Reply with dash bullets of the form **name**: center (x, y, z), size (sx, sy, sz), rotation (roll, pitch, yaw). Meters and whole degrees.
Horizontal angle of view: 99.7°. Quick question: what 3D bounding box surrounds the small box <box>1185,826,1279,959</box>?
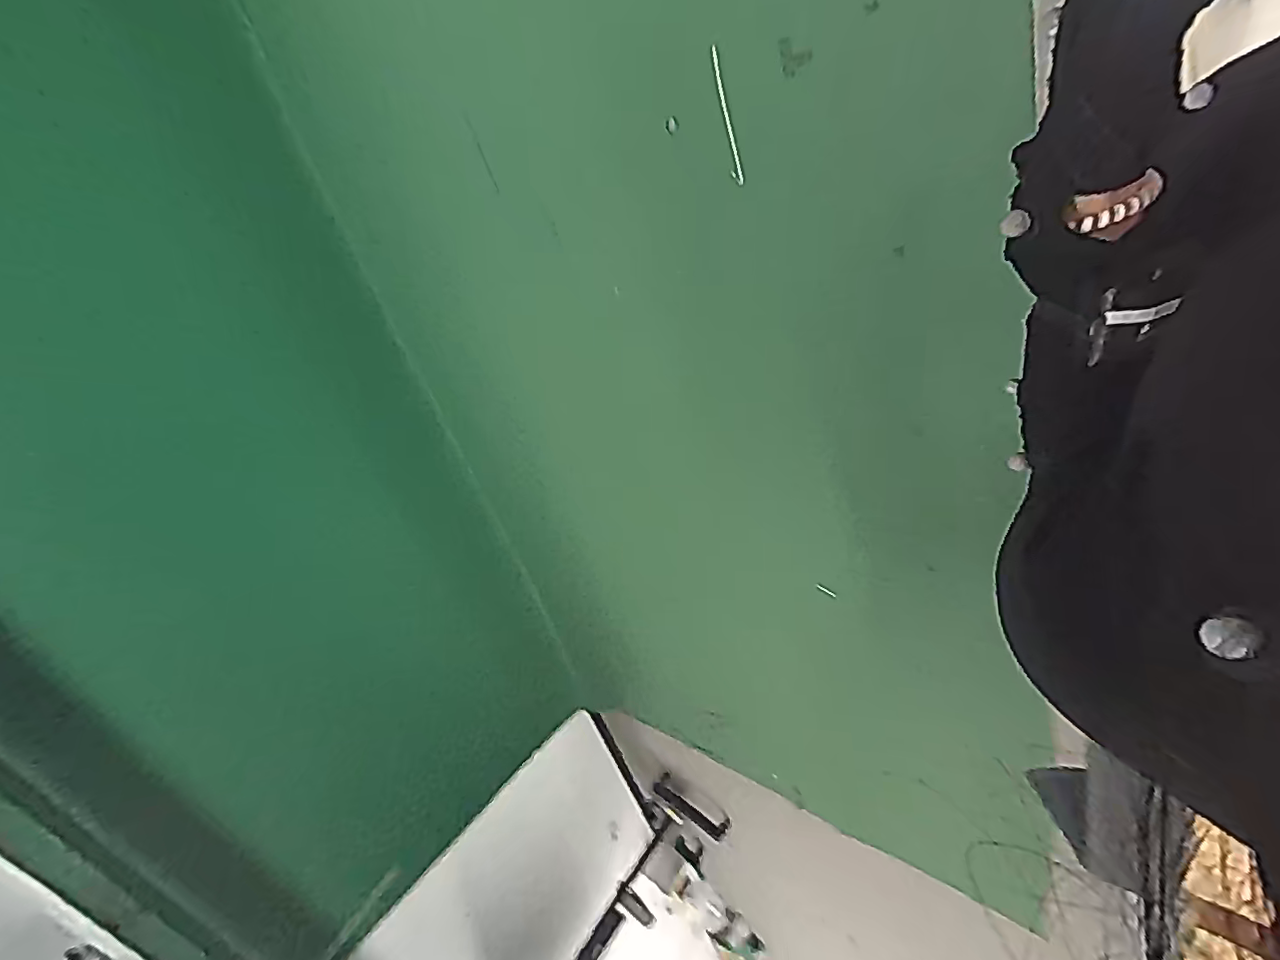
- **small box**: center (0.871, 0.629, 0.736), size (0.168, 0.176, 0.179), rotation (7, 124, 43)
